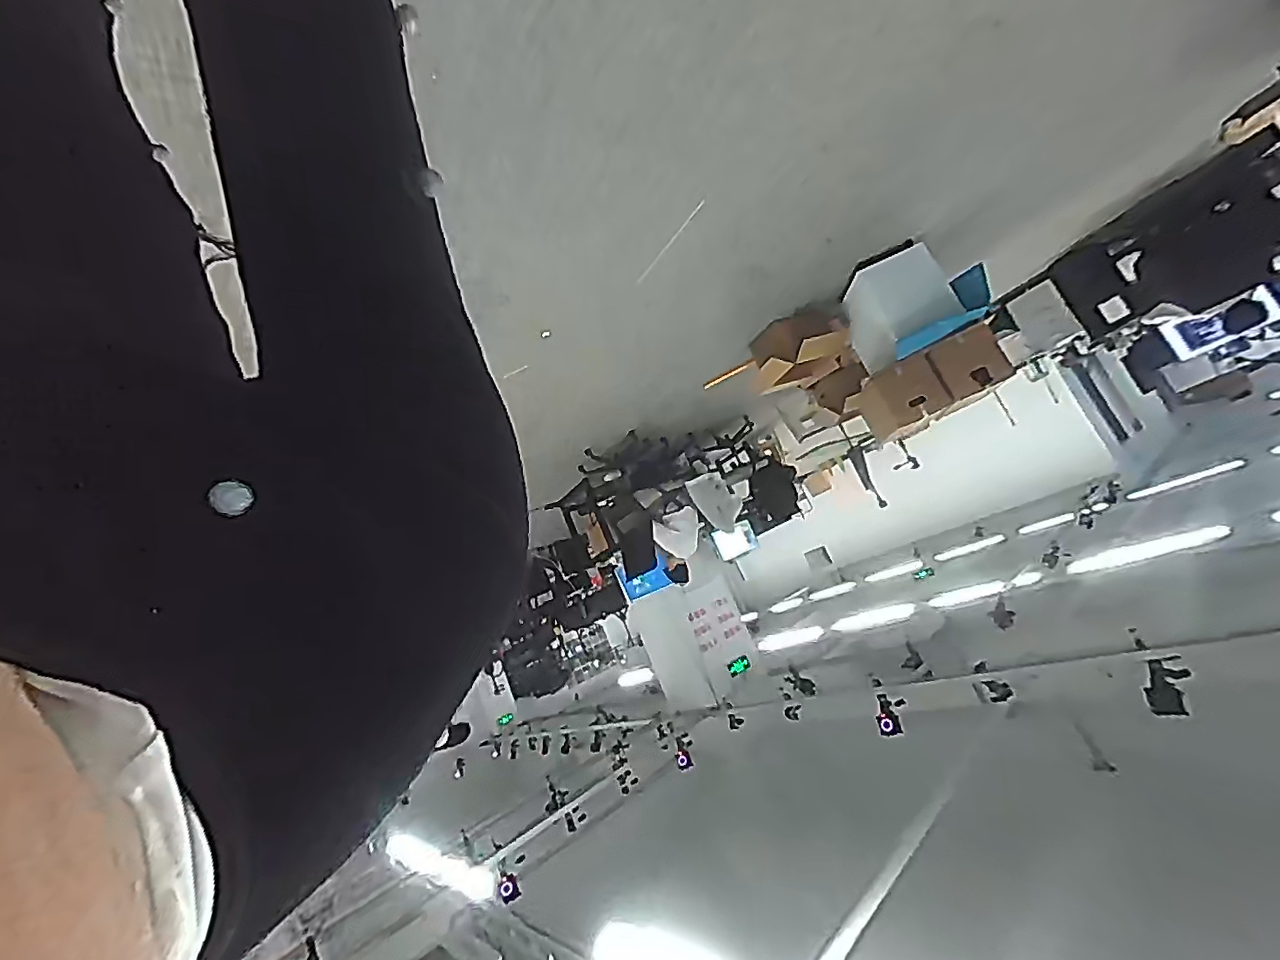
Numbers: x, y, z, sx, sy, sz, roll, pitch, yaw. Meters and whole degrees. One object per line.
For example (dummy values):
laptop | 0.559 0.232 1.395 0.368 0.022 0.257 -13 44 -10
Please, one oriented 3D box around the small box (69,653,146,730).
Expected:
small box | -1.705 0.669 1.721 0.168 0.176 0.179 -12 164 -42

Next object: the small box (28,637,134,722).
small box | -1.543 0.550 1.500 0.168 0.176 0.179 -14 166 -37
